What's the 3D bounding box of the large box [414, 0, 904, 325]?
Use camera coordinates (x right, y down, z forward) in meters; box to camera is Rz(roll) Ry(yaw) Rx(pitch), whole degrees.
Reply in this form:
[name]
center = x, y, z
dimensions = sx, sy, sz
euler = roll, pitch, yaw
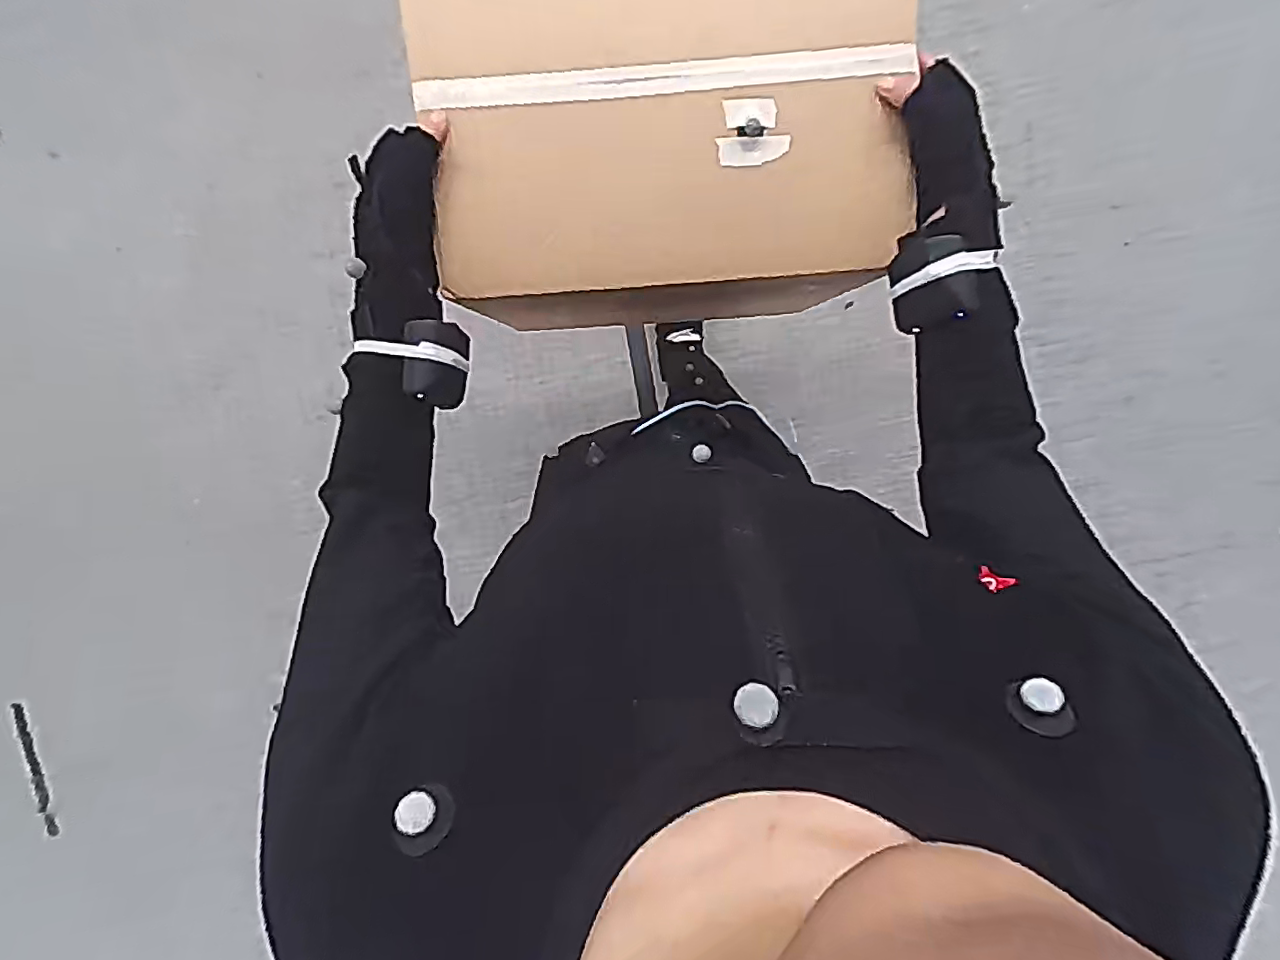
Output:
[large box]
center = 0.015, -0.358, 0.595
dimensions = 0.408, 0.320, 0.320
euler = -4, 101, -1
